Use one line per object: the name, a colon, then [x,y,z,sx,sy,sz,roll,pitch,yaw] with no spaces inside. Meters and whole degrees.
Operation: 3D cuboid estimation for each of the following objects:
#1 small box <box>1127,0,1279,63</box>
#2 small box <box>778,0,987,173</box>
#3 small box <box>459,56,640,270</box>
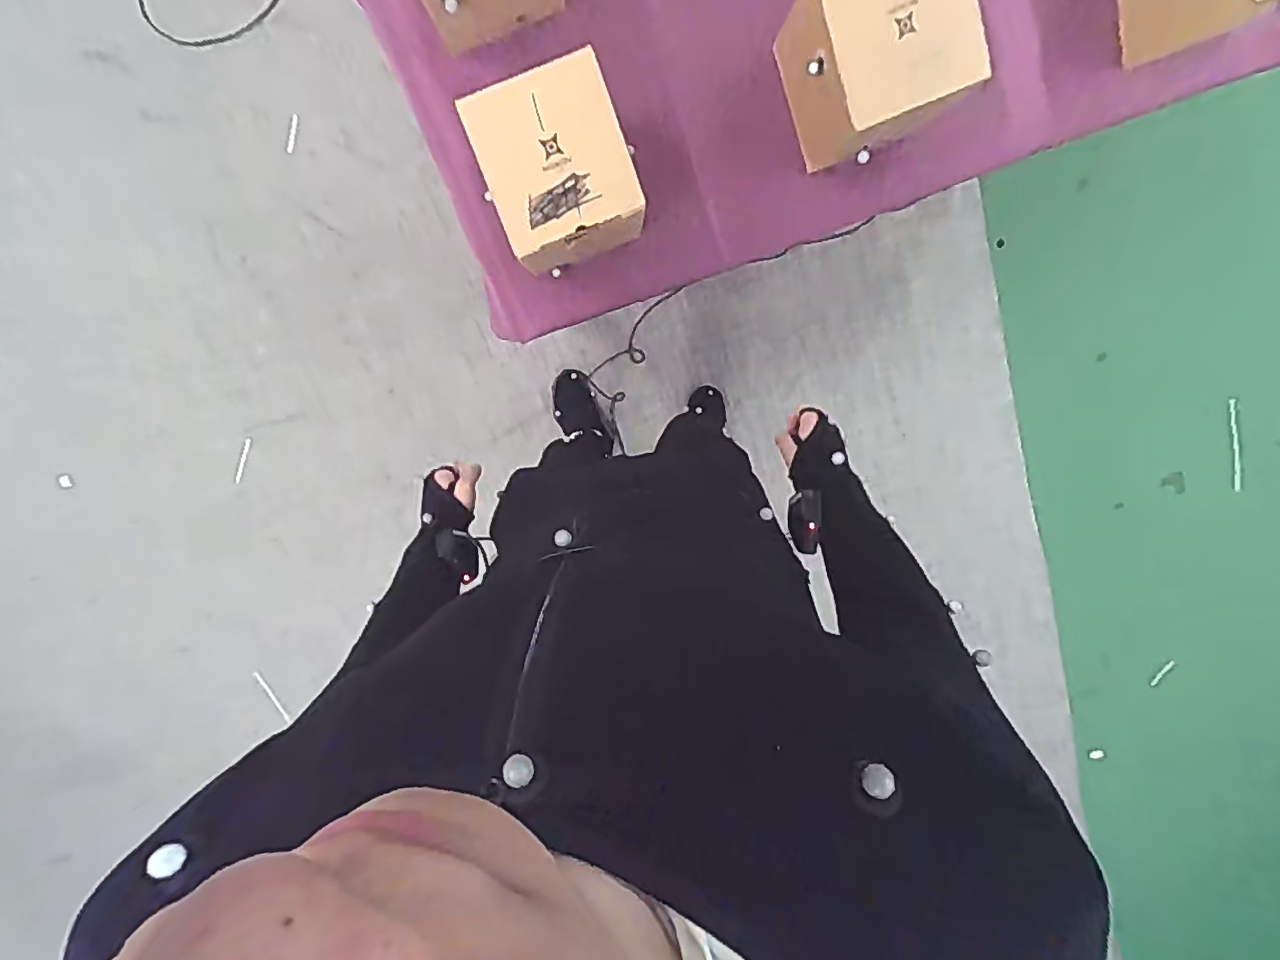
small box: [0.737,-0.663,0.654,0.168,0.176,0.179,-19,105,5]
small box: [0.290,-0.527,0.681,0.168,0.176,0.179,-20,103,5]
small box: [-0.103,-0.389,0.705,0.168,0.176,0.179,-21,102,3]
